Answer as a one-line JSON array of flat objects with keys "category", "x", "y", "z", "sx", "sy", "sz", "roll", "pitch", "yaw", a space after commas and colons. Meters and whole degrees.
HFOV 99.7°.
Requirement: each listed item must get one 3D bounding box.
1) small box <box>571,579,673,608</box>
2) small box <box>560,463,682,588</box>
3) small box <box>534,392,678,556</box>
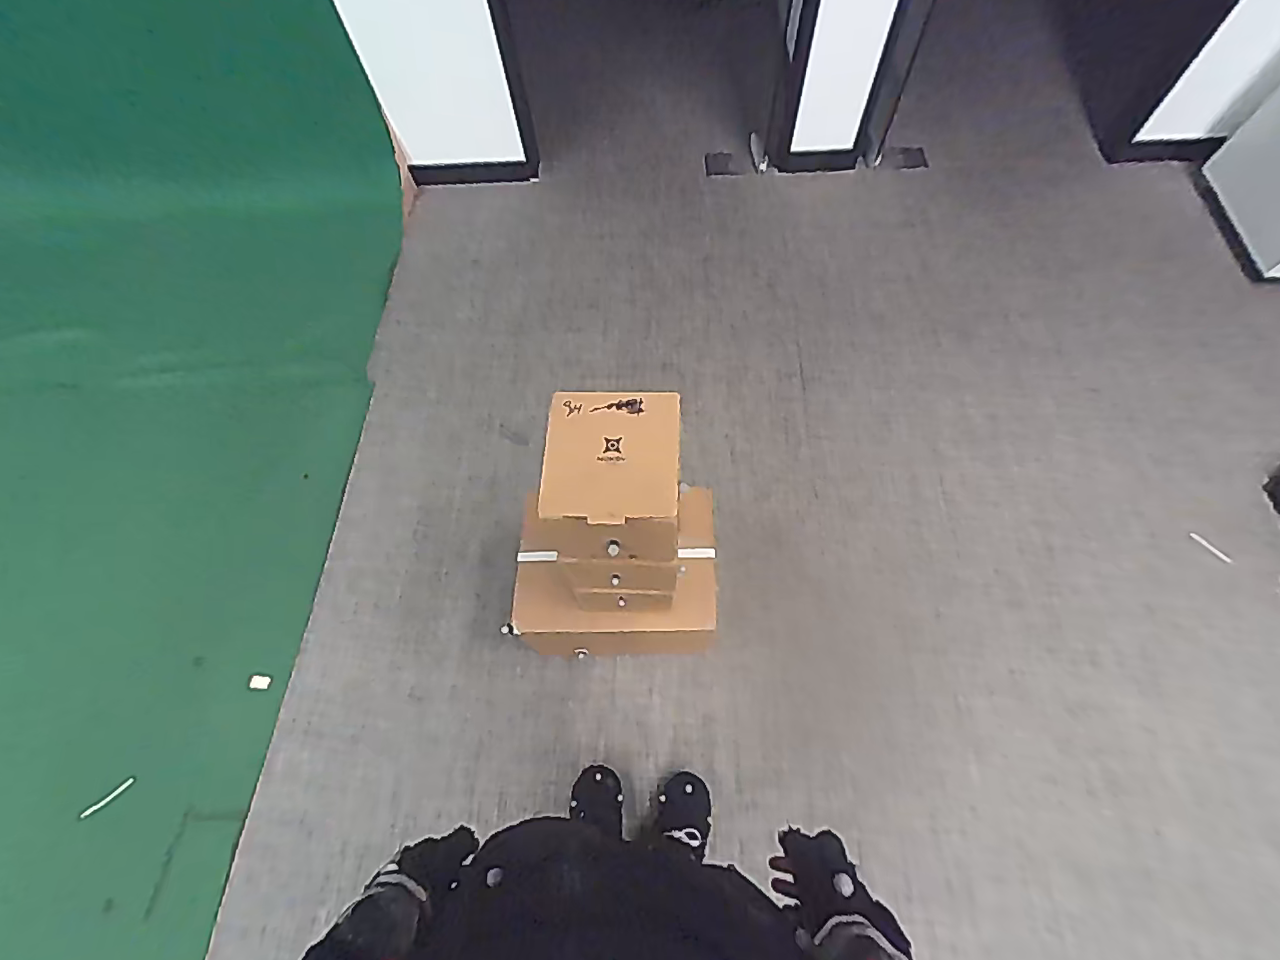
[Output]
[{"category": "small box", "x": -0.025, "y": 0.145, "z": 1.026, "sx": 0.179, "sy": 0.176, "sz": 0.168, "roll": 1, "pitch": 66, "yaw": 2}, {"category": "small box", "x": -0.025, "y": 0.076, "z": 0.877, "sx": 0.179, "sy": 0.176, "sz": 0.168, "roll": -1, "pitch": 66, "yaw": 2}, {"category": "small box", "x": -0.034, "y": -0.001, "z": 0.733, "sx": 0.168, "sy": 0.176, "sz": 0.179, "roll": 2, "pitch": 67, "yaw": 4}]
